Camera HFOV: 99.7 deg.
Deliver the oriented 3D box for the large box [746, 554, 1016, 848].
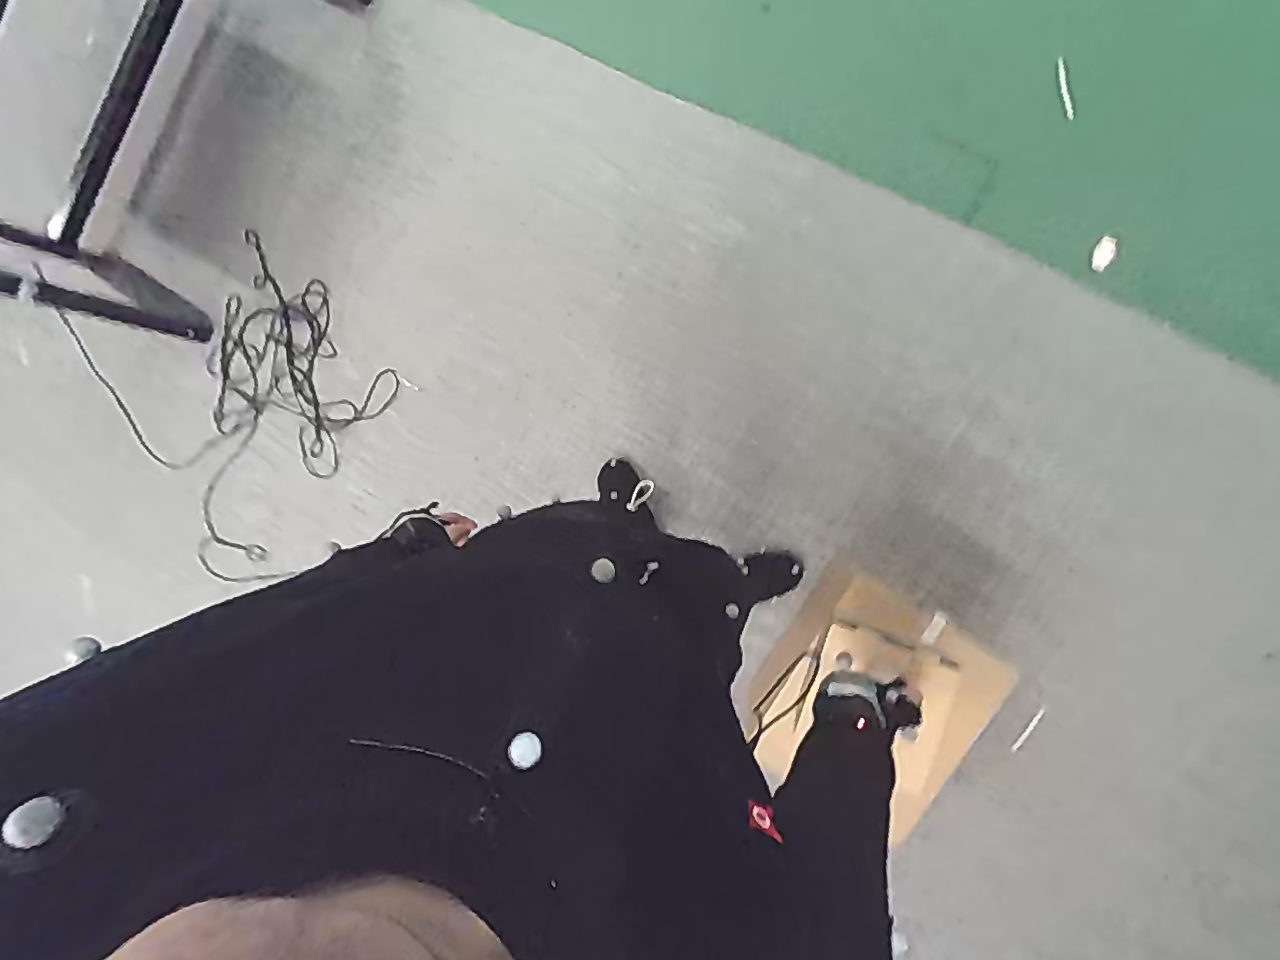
[{"bbox_3d":[0.459,0.418,1.124,0.320,0.320,0.408,32,98,12],"label":"large box"}]
